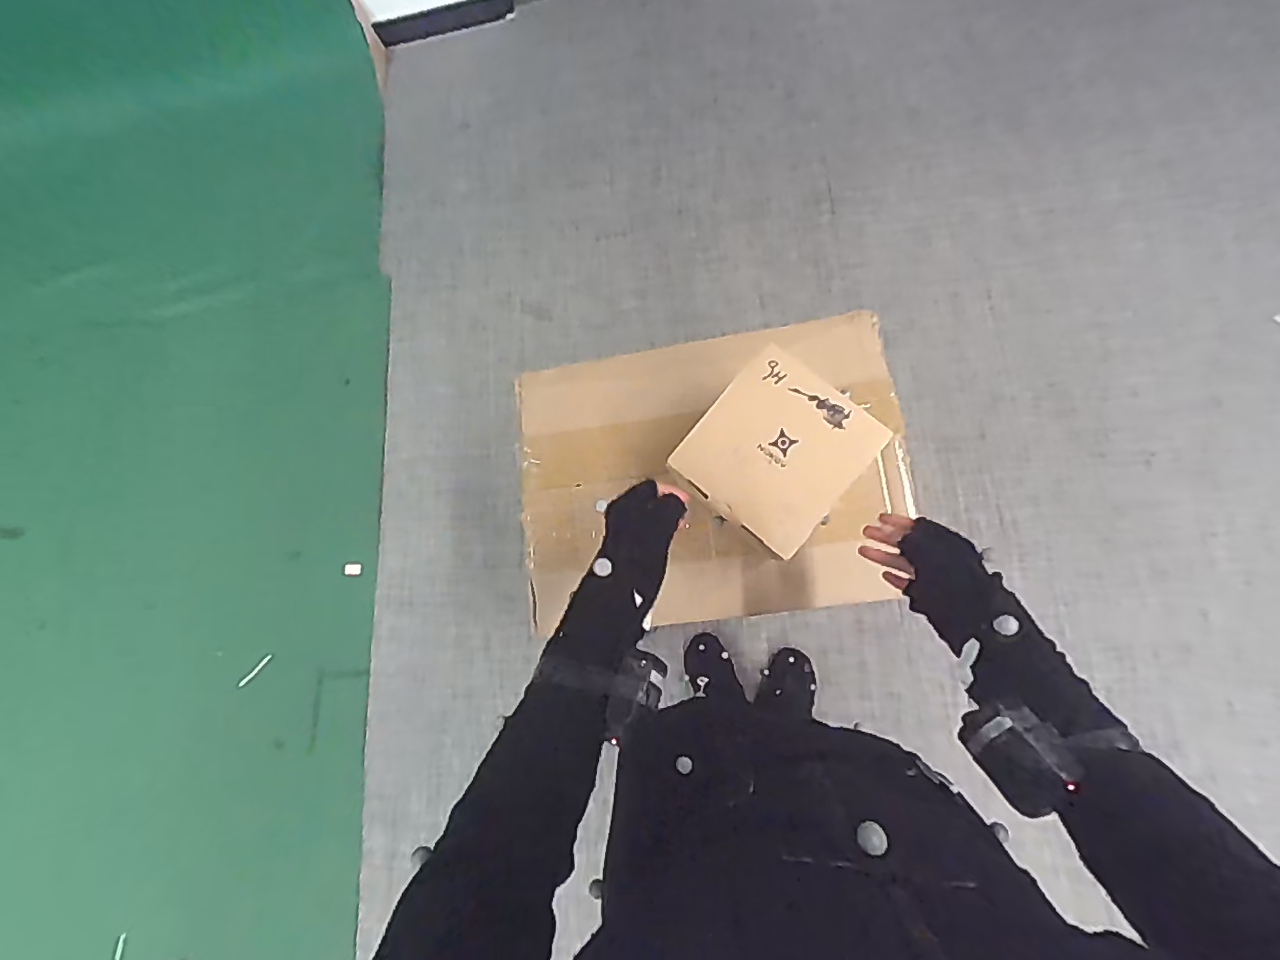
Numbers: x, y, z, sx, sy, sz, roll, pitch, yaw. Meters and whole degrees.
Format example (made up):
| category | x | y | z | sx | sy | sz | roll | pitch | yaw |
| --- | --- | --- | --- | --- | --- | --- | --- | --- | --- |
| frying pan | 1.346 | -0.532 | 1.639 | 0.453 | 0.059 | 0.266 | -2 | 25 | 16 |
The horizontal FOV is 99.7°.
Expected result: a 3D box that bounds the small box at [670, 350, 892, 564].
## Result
| category | x | y | z | sx | sy | sz | roll | pitch | yaw |
| --- | --- | --- | --- | --- | --- | --- | --- | --- | --- |
| small box | 0.160 | -0.017 | 0.652 | 0.168 | 0.176 | 0.179 | 41 | 90 | 11 |
